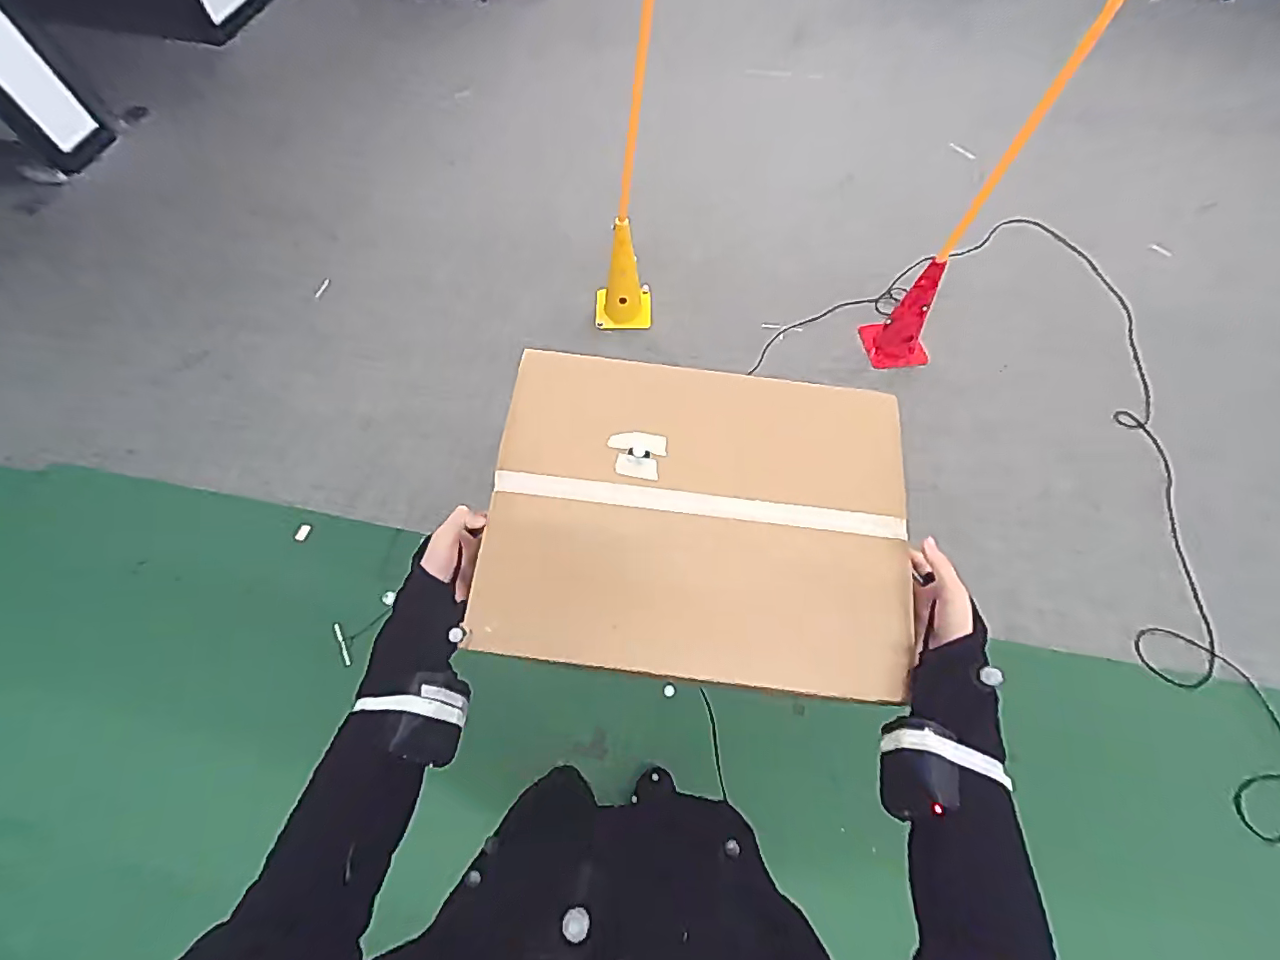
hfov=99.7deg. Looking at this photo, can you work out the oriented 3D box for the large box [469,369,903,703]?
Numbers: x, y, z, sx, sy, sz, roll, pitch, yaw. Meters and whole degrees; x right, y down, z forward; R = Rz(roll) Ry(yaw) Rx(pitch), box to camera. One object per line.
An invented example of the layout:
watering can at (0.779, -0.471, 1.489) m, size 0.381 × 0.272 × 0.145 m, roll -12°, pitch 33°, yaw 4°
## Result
large box at (0.054, 0.090, 0.679) m, size 0.408 × 0.320 × 0.320 m, roll 7°, pitch 68°, yaw 1°
